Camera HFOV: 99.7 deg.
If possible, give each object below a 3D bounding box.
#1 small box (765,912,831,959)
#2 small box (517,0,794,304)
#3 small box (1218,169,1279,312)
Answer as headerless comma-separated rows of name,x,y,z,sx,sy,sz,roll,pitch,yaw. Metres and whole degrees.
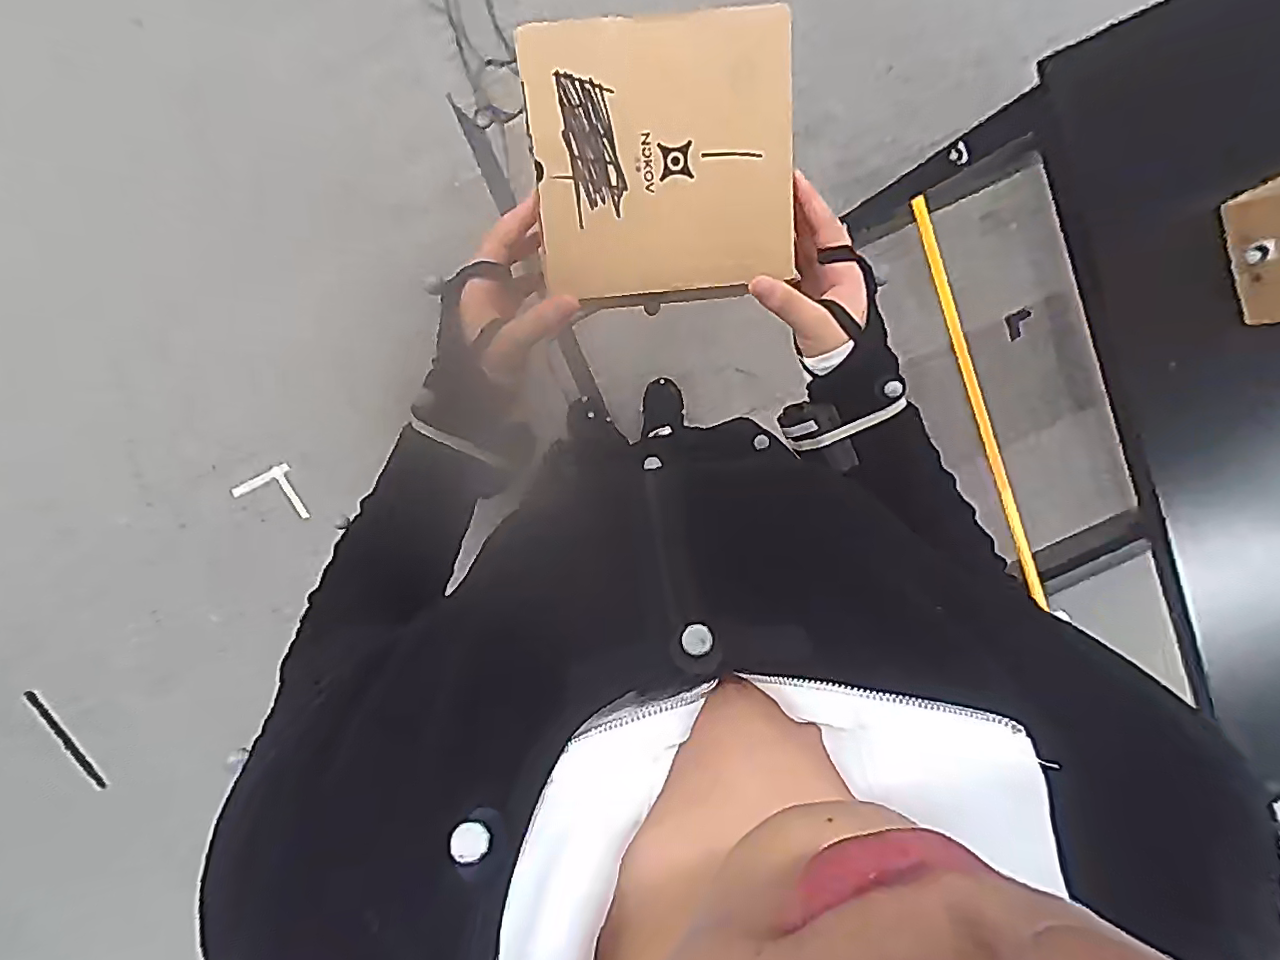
small box,0.523,1.549,1.748,0.168,0.176,0.179,-25,100,4
small box,0.012,-0.237,0.434,0.179,0.176,0.168,-6,106,-1
small box,0.860,-0.315,0.632,0.179,0.176,0.168,-27,100,4
